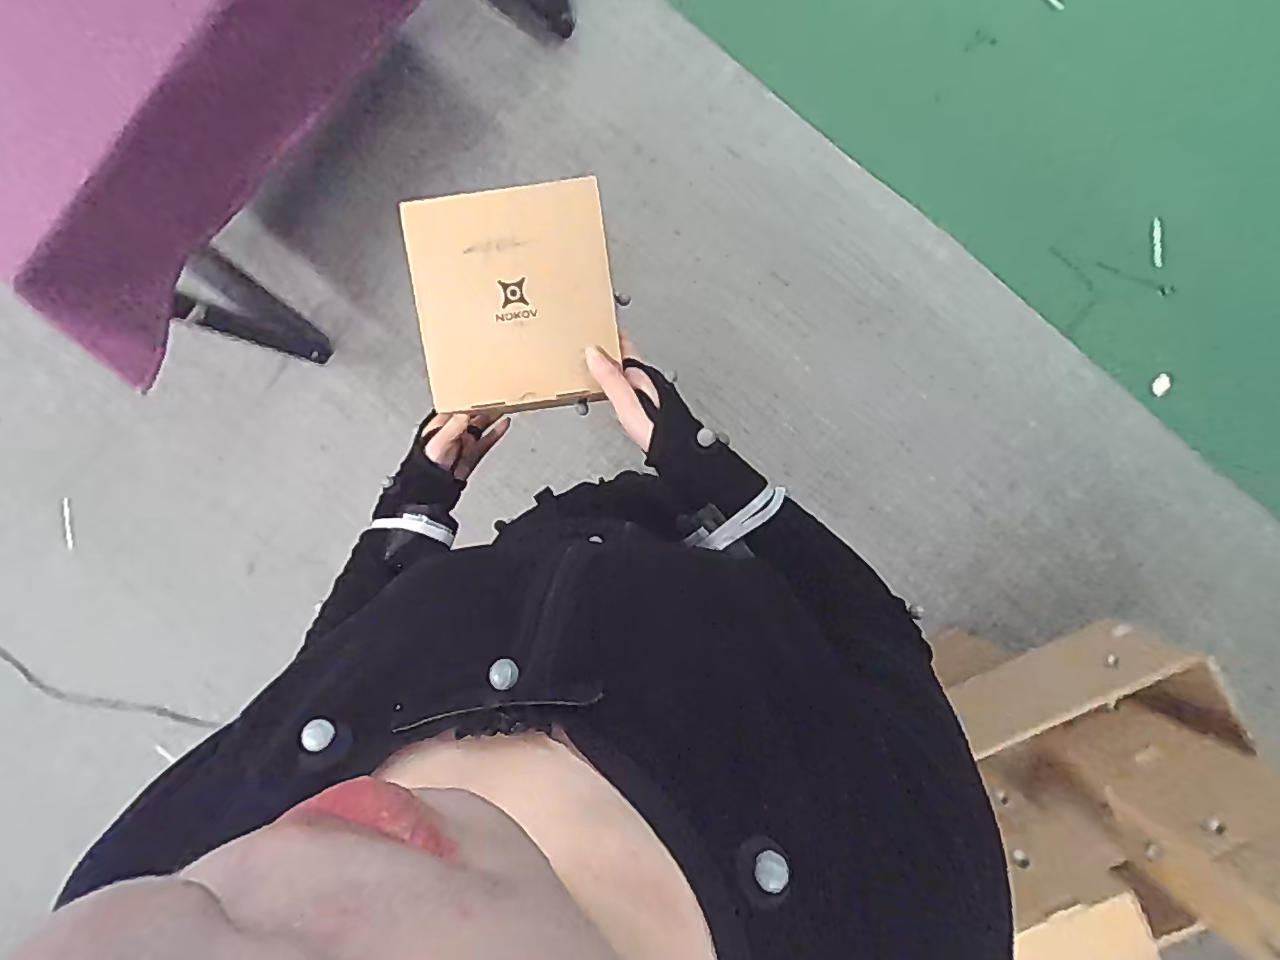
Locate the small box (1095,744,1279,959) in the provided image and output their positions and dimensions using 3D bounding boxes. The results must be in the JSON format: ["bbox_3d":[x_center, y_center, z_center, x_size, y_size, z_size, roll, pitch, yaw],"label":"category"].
[{"bbox_3d":[0.809,0.509,0.757,0.179,0.176,0.168,-27,89,3],"label":"small box"}]

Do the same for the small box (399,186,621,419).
[{"bbox_3d":[-0.110,-0.158,0.536,0.168,0.176,0.179,-8,96,-1],"label":"small box"}]
